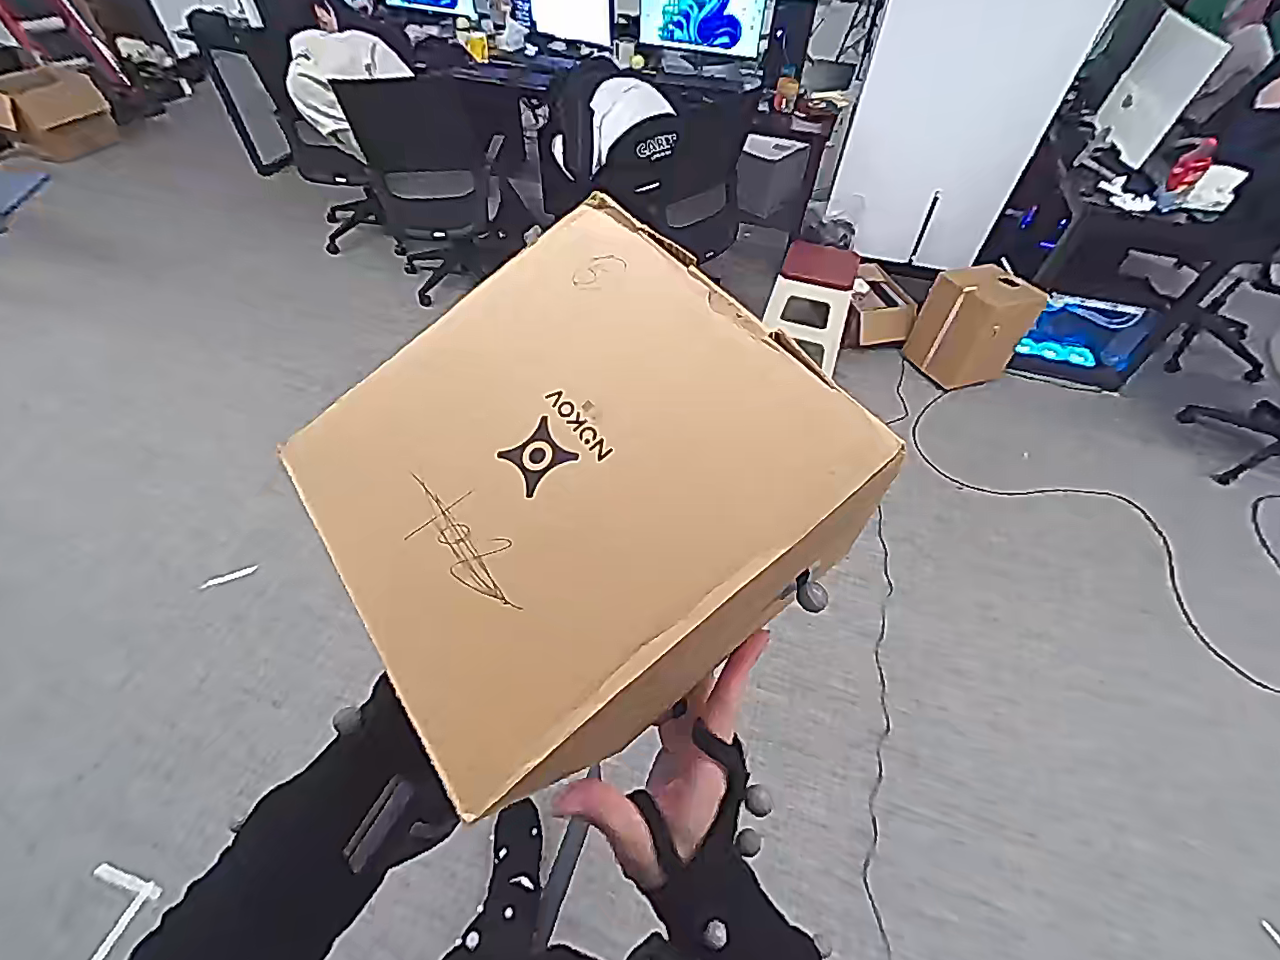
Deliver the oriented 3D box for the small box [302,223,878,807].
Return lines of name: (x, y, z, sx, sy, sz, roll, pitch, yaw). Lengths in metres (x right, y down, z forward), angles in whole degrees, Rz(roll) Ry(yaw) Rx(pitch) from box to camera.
small box: (-0.015, 0.021, 0.279, 0.179, 0.176, 0.168, -41, 65, -2)
